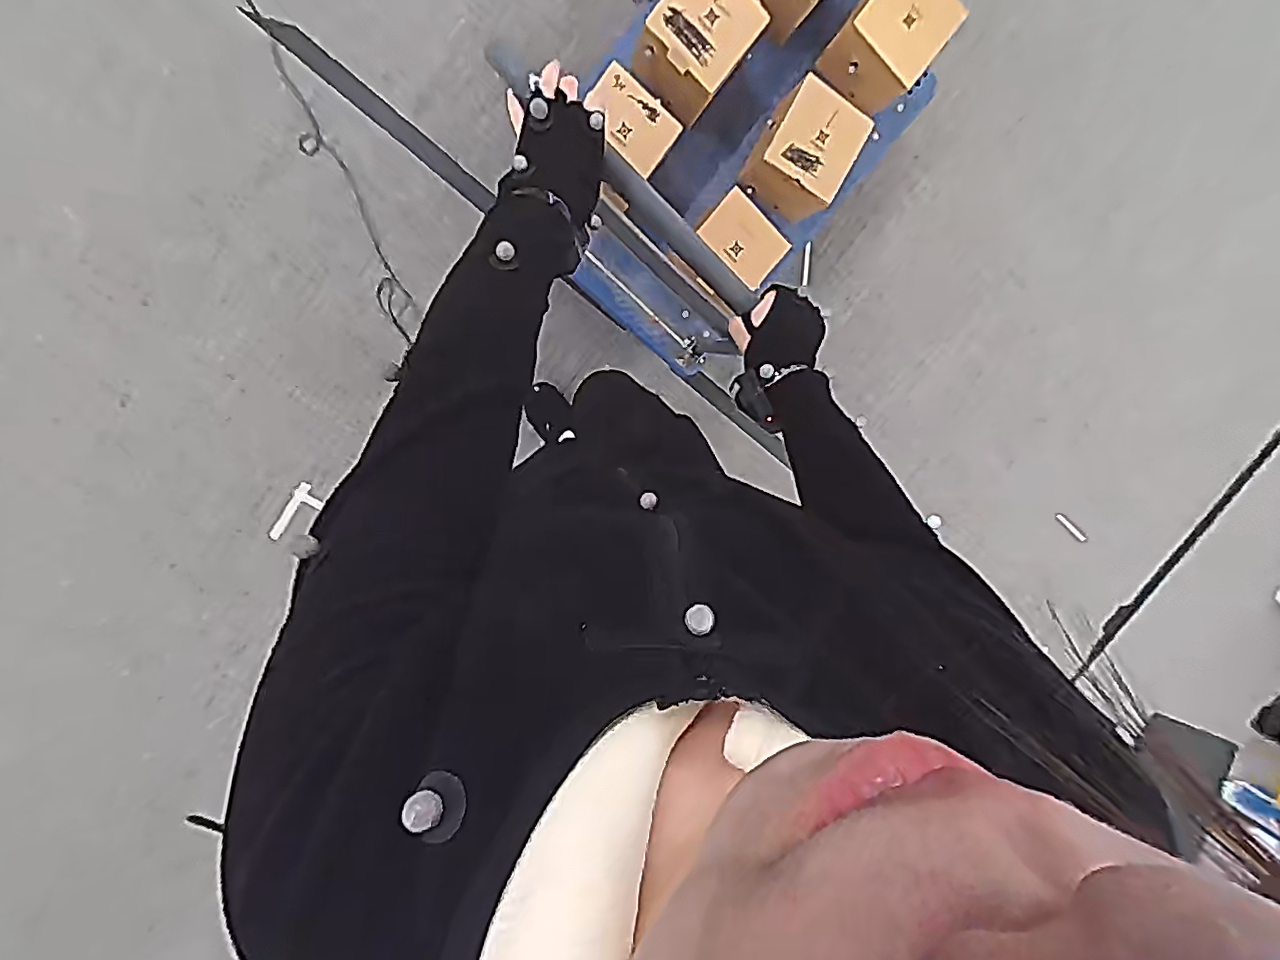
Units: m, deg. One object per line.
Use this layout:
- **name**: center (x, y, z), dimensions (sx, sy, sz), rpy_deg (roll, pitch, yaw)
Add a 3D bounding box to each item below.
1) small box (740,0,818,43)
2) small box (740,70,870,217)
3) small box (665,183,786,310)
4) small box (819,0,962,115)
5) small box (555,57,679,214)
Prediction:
- **small box**: center (0.300, -1.013, 1.040), dimensions (0.168, 0.176, 0.179), rpy_deg (42, 95, -16)
- **small box**: center (0.330, -0.685, 1.129), dimensions (0.168, 0.176, 0.179), rpy_deg (27, 97, -15)
- **small box**: center (0.171, -0.482, 1.153), dimensions (0.168, 0.176, 0.179), rpy_deg (40, 94, -17)
- **small box**: center (0.496, -0.899, 1.104), dimensions (0.168, 0.176, 0.179), rpy_deg (37, 95, -16)
- **small box**: center (-0.052, -0.661, 1.068), dimensions (0.168, 0.176, 0.179), rpy_deg (36, 96, -17)
